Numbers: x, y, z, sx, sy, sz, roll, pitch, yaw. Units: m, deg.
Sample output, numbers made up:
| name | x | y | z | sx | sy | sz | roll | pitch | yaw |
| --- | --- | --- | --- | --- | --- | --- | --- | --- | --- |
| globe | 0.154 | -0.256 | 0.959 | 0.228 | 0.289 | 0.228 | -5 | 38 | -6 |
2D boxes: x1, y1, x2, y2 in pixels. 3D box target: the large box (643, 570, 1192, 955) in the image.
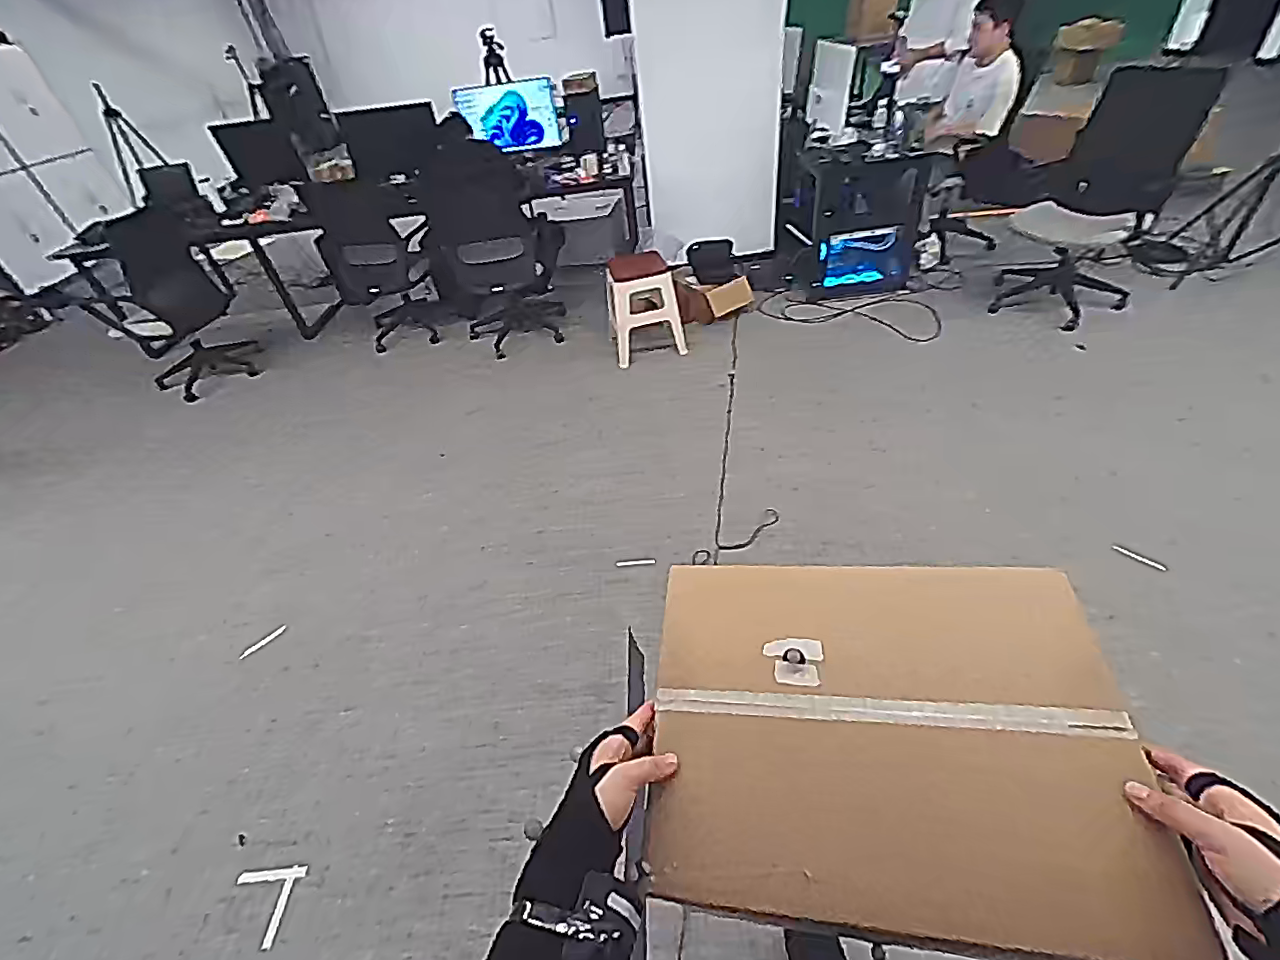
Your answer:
| name | x | y | z | sx | sy | sz | roll | pitch | yaw |
| --- | --- | --- | --- | --- | --- | --- | --- | --- | --- |
| large box | 0.241 | 0.319 | 0.622 | 0.408 | 0.320 | 0.320 | -3 | 48 | 13 |
